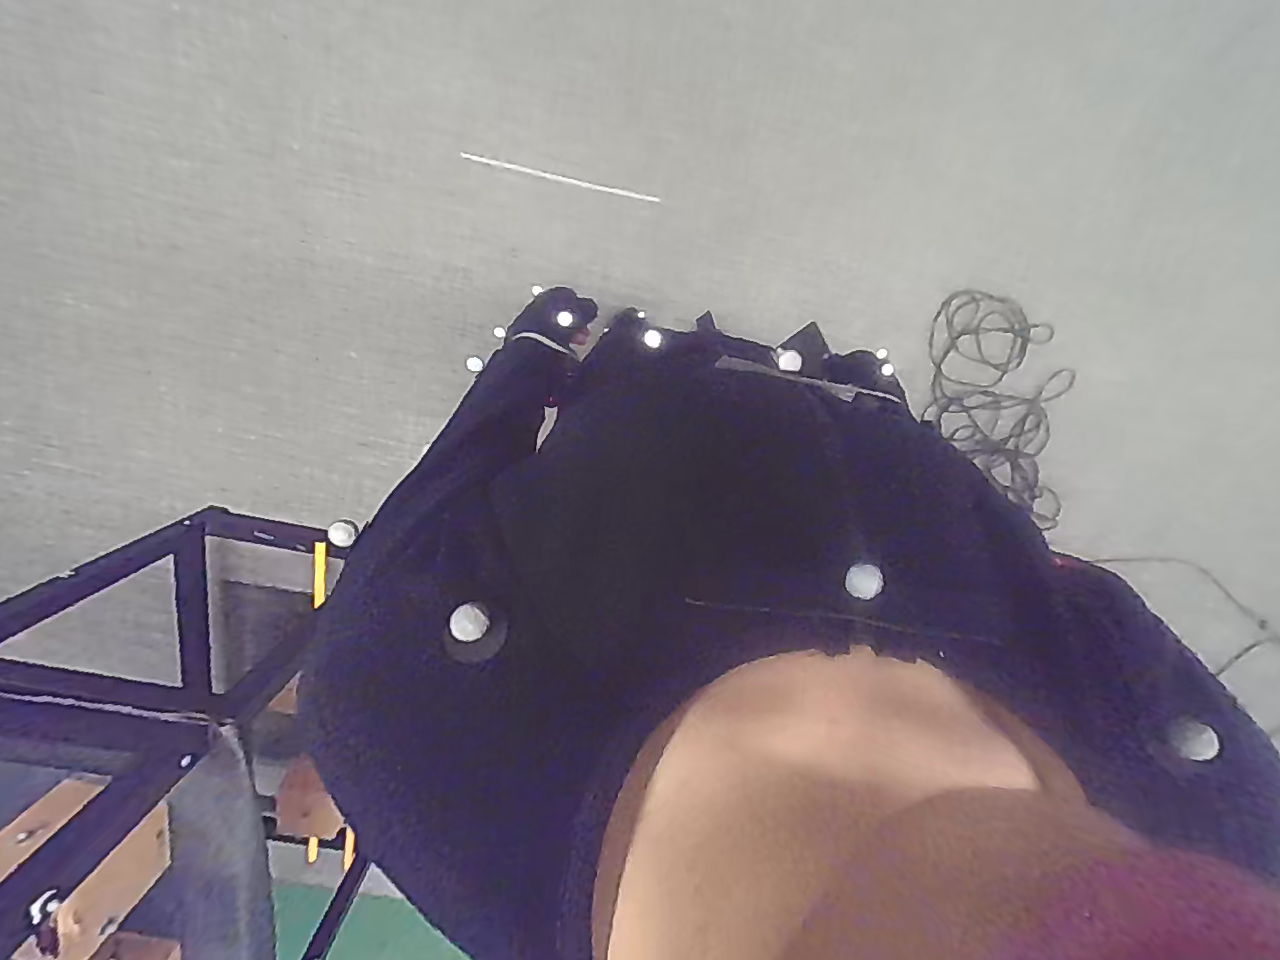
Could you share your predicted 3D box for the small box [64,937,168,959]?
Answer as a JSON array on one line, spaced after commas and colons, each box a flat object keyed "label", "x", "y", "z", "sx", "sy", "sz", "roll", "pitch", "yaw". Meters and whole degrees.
[{"label": "small box", "x": -0.993, "y": 0.982, "z": 0.971, "sx": 0.168, "sy": 0.176, "sz": 0.179, "roll": 14, "pitch": 107, "yaw": -4}]
